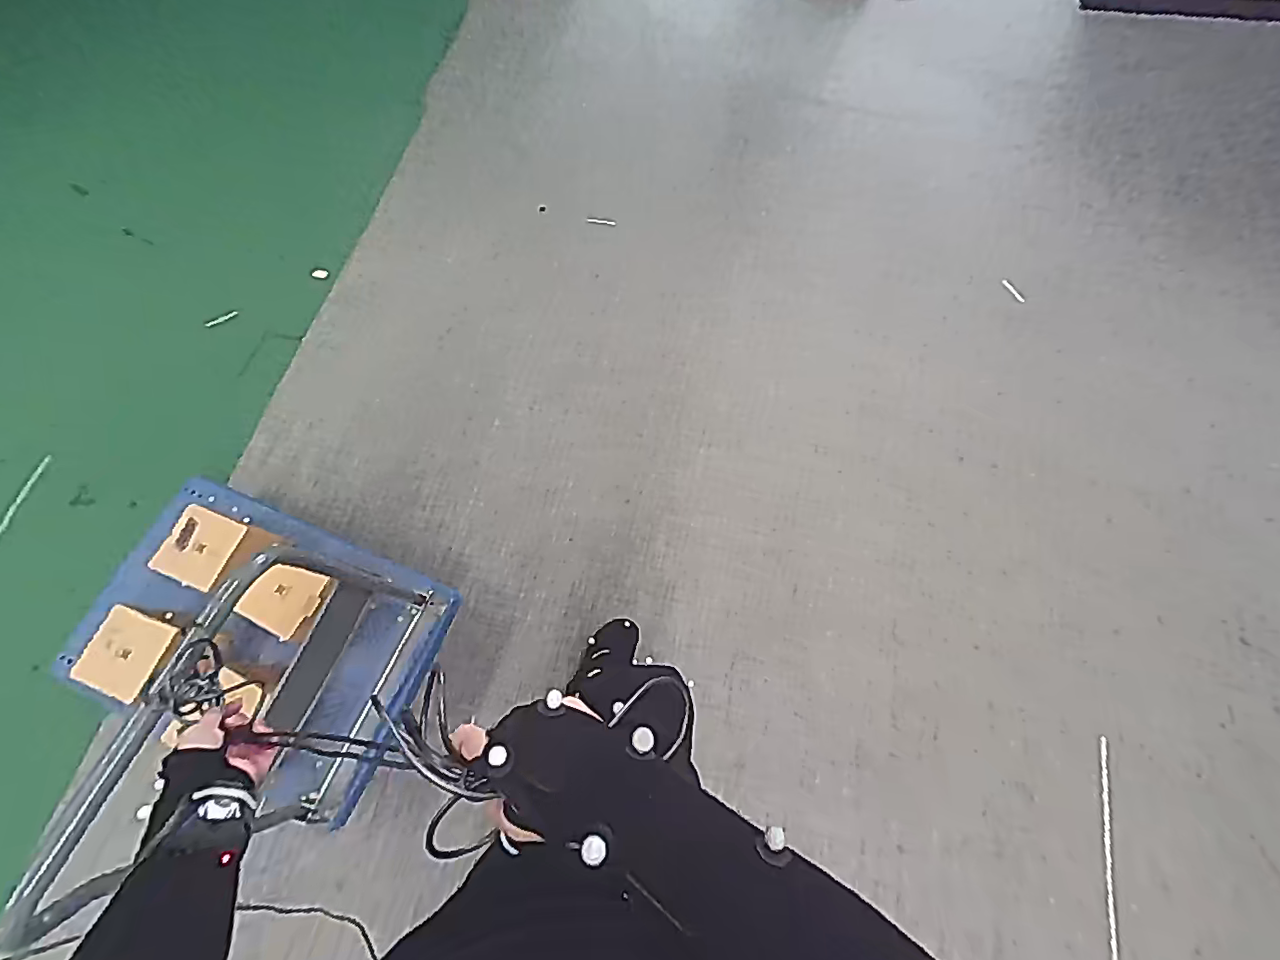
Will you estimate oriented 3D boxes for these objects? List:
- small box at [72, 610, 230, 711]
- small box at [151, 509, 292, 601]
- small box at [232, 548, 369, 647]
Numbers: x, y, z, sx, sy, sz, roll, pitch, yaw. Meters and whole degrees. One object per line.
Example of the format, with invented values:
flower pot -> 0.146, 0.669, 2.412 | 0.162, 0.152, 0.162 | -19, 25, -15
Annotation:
small box -> -1.117, 0.416, 1.253 | 0.179, 0.176, 0.168 | 18, 71, 10
small box -> -1.017, 0.194, 1.329 | 0.179, 0.176, 0.168 | 19, 73, 10
small box -> -0.794, 0.286, 1.282 | 0.179, 0.176, 0.168 | 23, 73, 11
